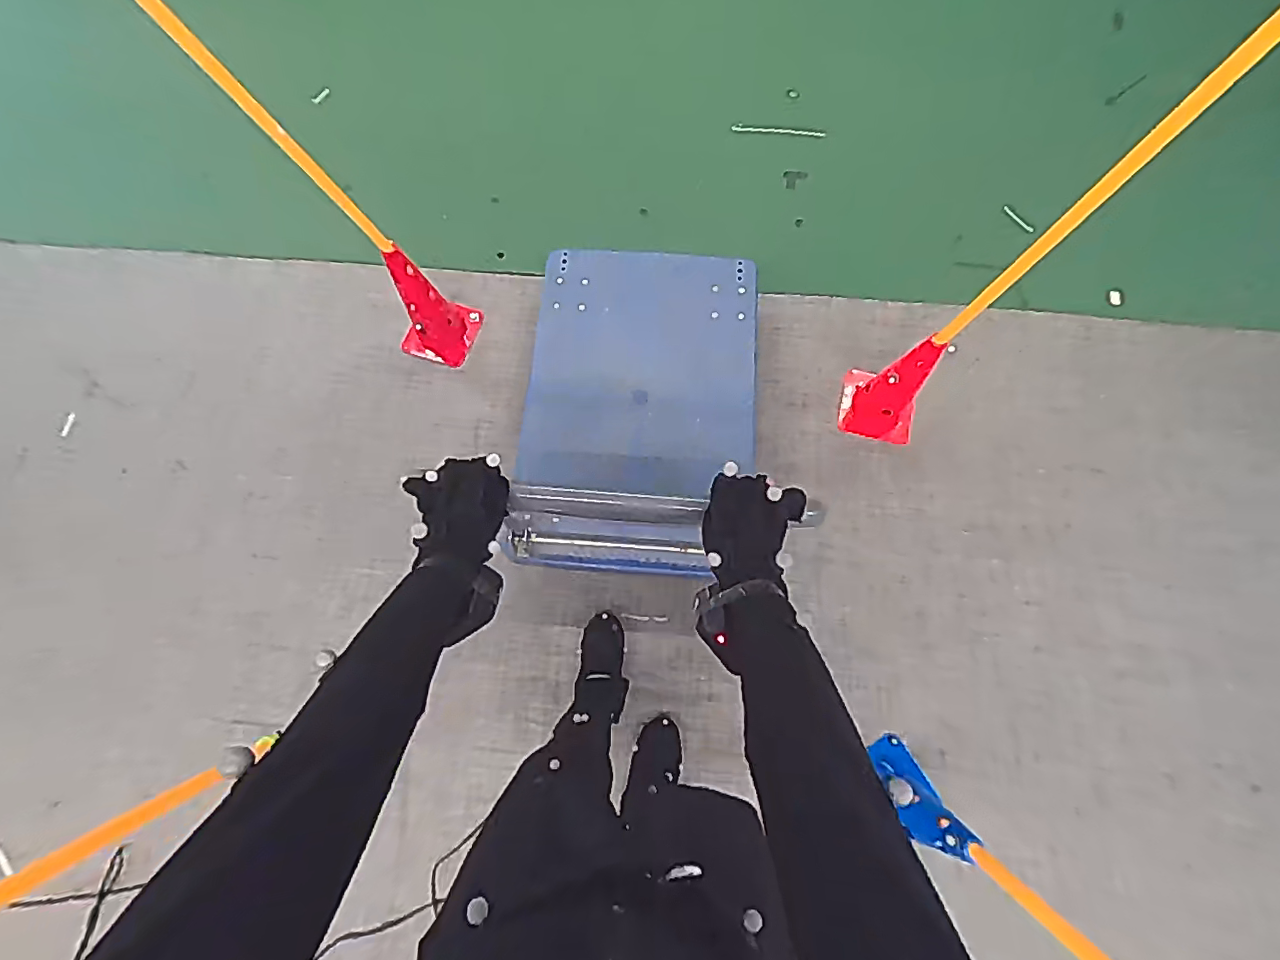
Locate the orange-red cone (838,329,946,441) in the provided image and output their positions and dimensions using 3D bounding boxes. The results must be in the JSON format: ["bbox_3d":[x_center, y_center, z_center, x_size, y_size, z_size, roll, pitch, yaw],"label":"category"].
[{"bbox_3d":[0.664,-0.264,1.357,0.198,0.360,0.199,15,75,7],"label":"orange-red cone"}]
